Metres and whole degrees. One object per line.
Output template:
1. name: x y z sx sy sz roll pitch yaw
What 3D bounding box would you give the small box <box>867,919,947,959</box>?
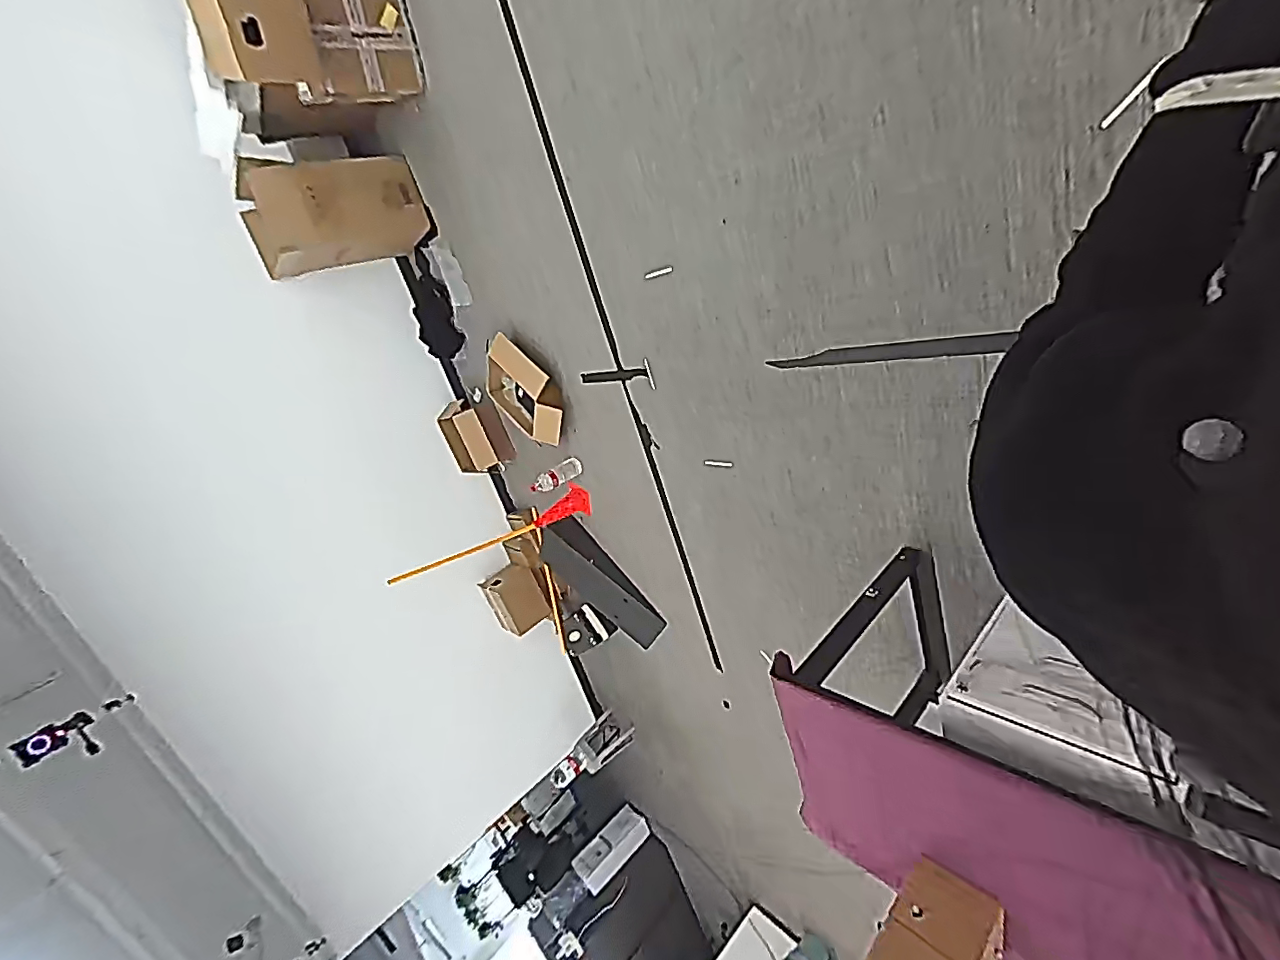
1. small box: 0.563 1.071 1.110 0.179 0.176 0.168 13 125 47

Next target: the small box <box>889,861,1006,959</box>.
1. small box: 0.680 0.998 1.199 0.179 0.176 0.168 12 125 48
